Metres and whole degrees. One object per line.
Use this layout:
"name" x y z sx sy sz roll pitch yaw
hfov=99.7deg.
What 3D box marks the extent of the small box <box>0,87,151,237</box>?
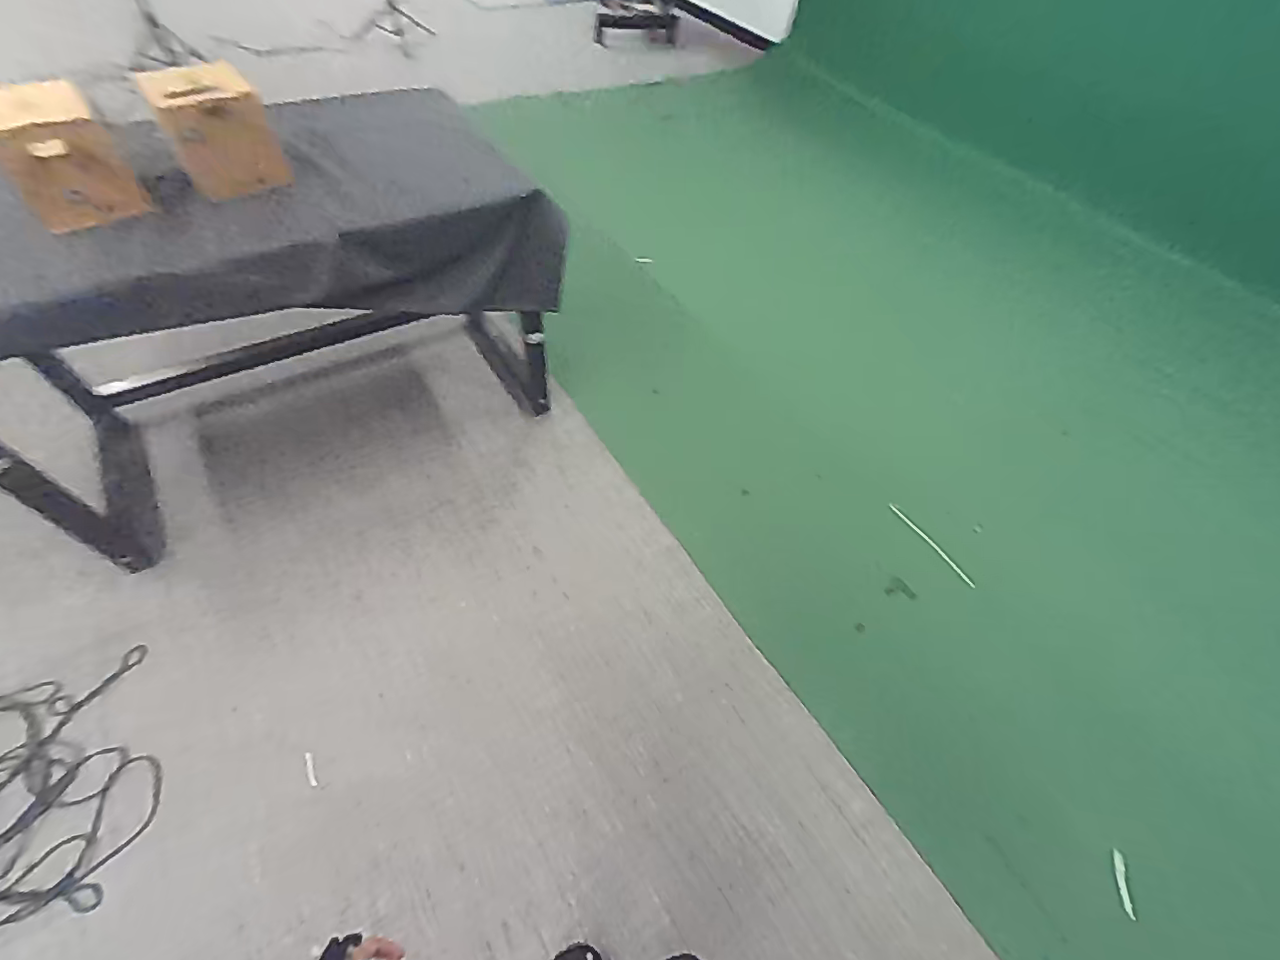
"small box" -1.038 -0.567 0.968 0.168 0.176 0.179 -33 64 -26
